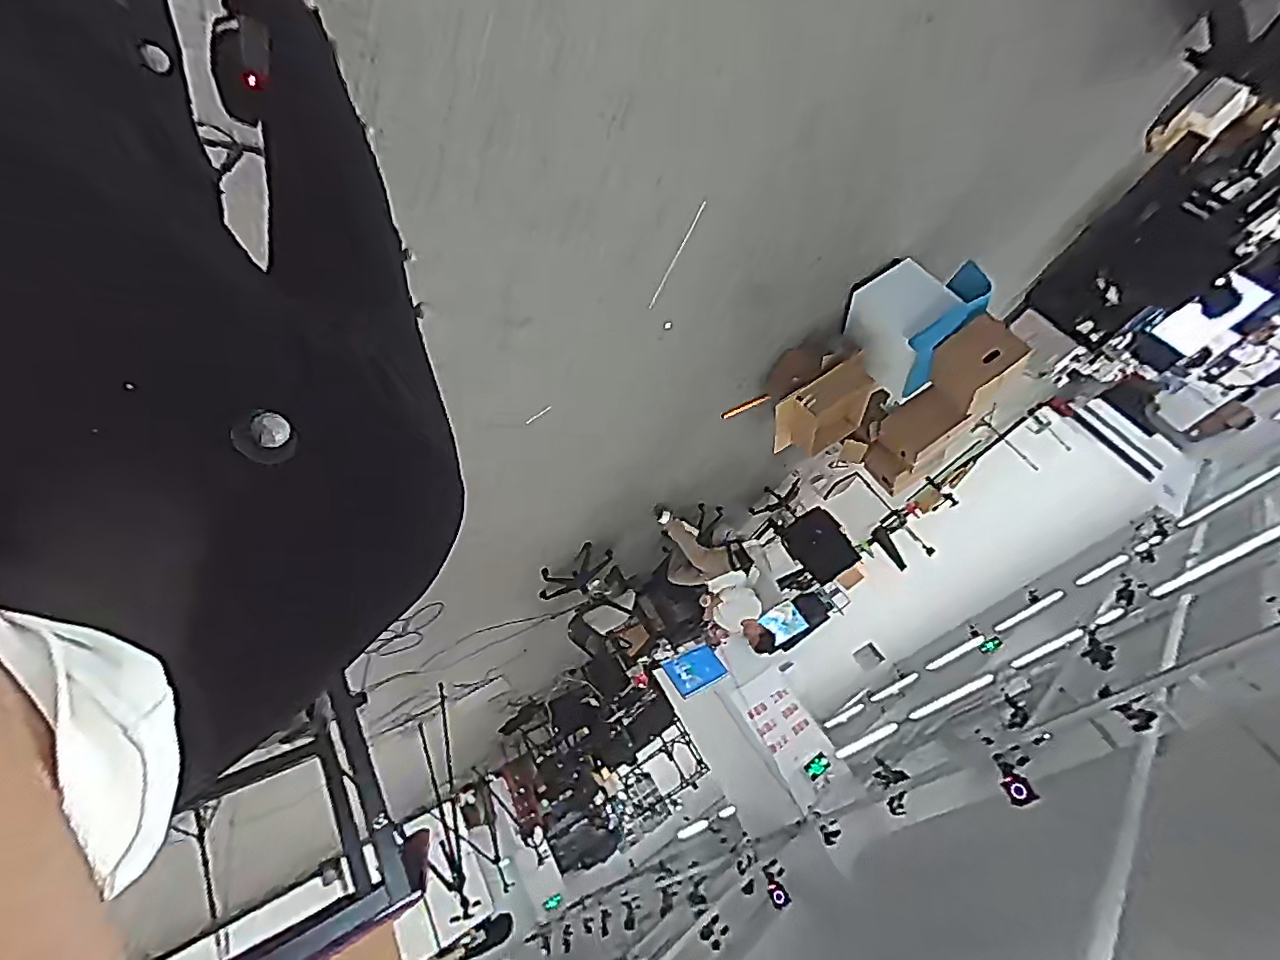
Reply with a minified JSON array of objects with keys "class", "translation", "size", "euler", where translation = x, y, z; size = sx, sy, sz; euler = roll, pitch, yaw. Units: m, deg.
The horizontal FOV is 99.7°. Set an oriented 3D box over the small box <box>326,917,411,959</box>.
[{"class":"small box","translation":[-0.658,1.204,1.306],"size":[0.179,0.176,0.168],"euler":[-10,145,-40]}]
